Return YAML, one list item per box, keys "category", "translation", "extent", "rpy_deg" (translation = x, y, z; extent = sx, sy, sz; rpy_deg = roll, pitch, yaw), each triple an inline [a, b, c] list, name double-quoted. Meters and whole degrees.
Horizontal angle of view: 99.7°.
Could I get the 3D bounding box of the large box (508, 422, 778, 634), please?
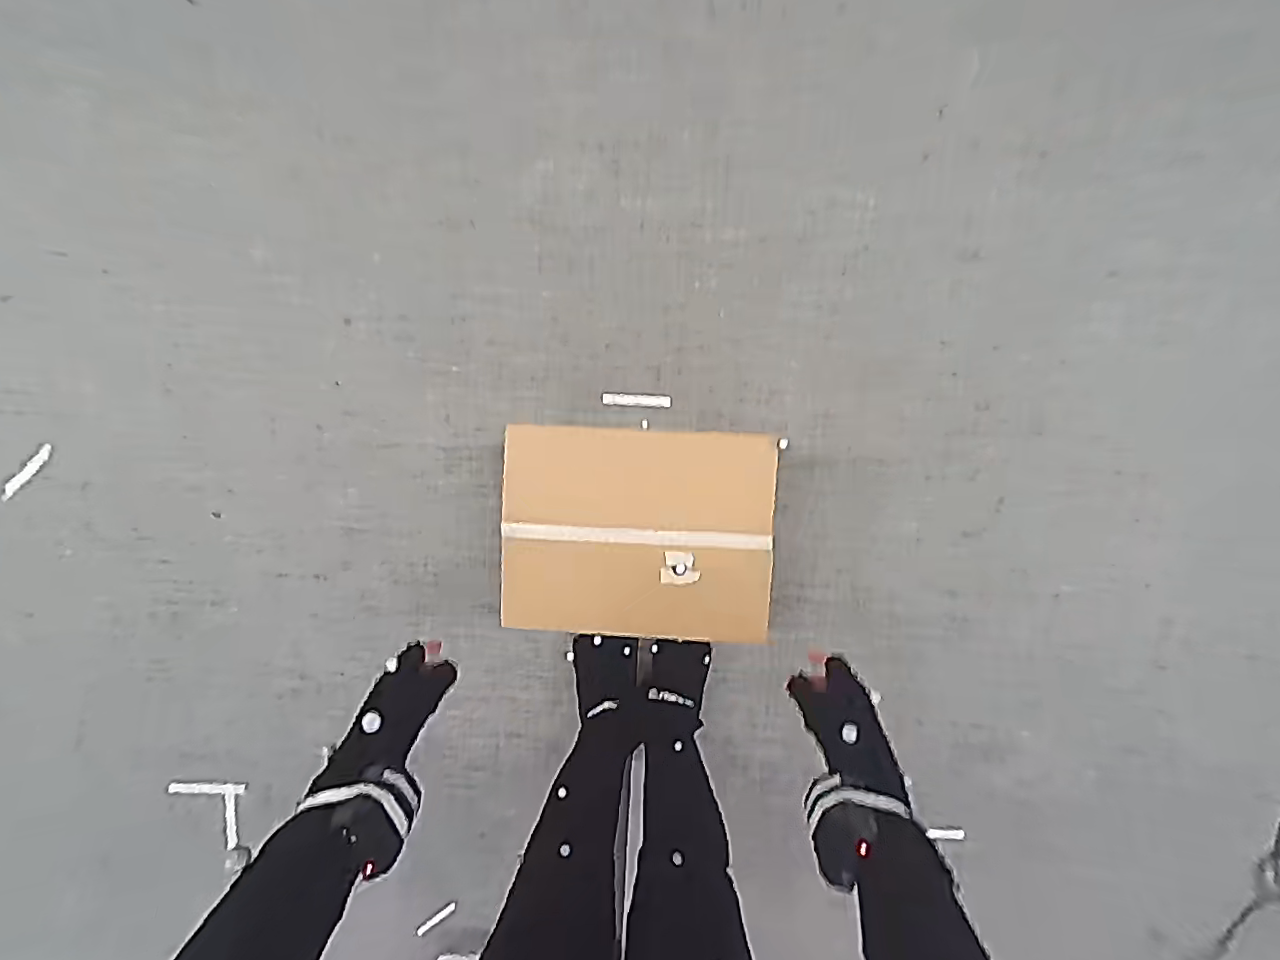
- category: "large box"
  translation: [0.003, 0.064, 0.956]
  extent: [0.408, 0.320, 0.320]
  rpy_deg: [3, 95, 1]
